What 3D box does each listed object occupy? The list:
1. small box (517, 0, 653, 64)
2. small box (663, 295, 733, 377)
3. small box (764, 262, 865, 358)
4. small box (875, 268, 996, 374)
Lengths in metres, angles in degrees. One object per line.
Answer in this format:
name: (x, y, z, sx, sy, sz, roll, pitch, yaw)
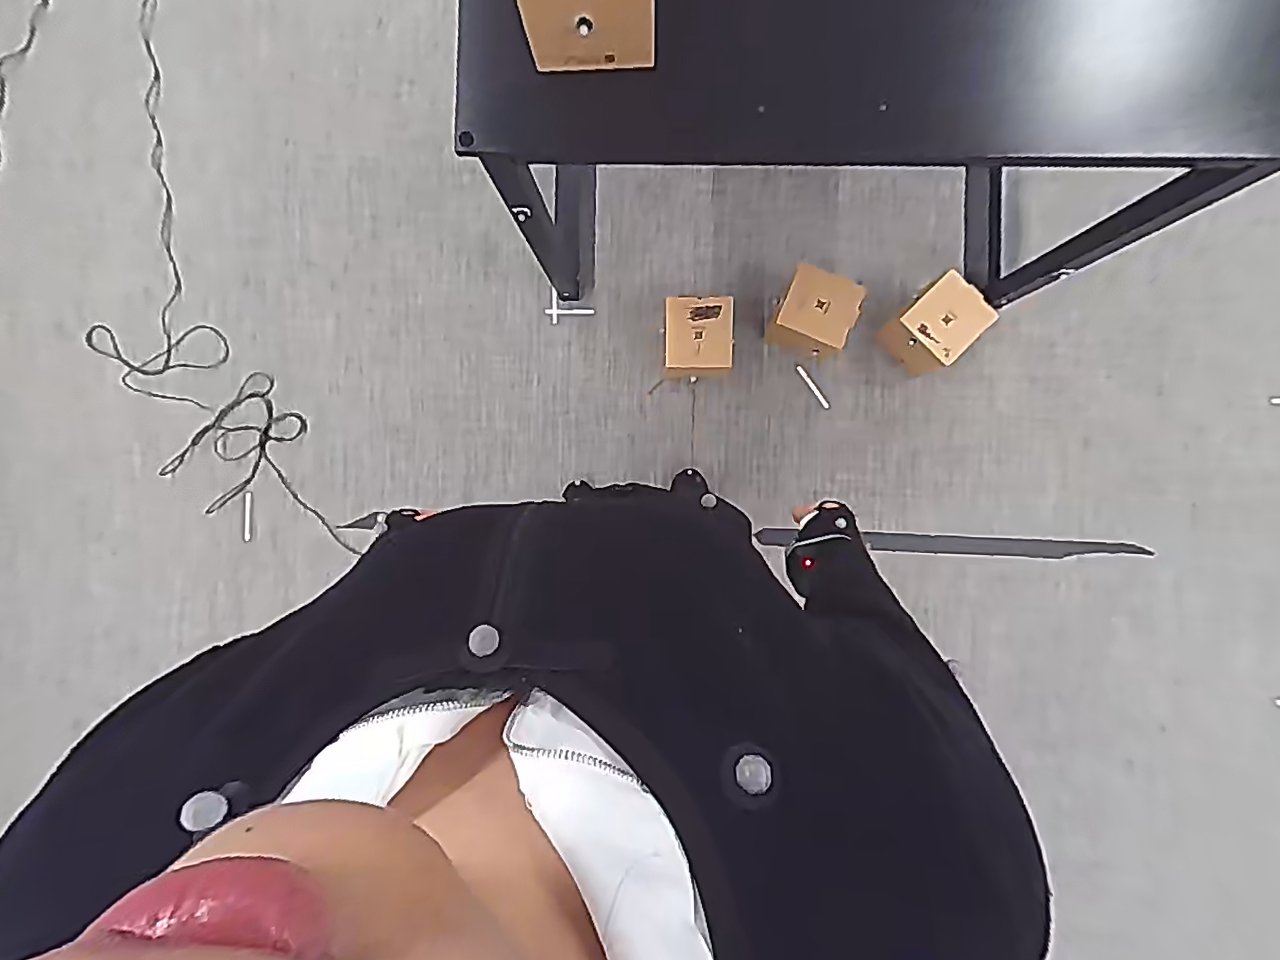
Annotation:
small box: (-0.067, -0.662, 0.676, 0.168, 0.176, 0.179, -1, 91, 1)
small box: (0.146, -0.370, 1.405, 0.168, 0.176, 0.179, 1, 93, 2)
small box: (0.441, -0.428, 1.394, 0.179, 0.176, 0.168, 23, 91, 3)
small box: (0.742, -0.397, 1.381, 0.179, 0.176, 0.168, -45, 89, 3)
